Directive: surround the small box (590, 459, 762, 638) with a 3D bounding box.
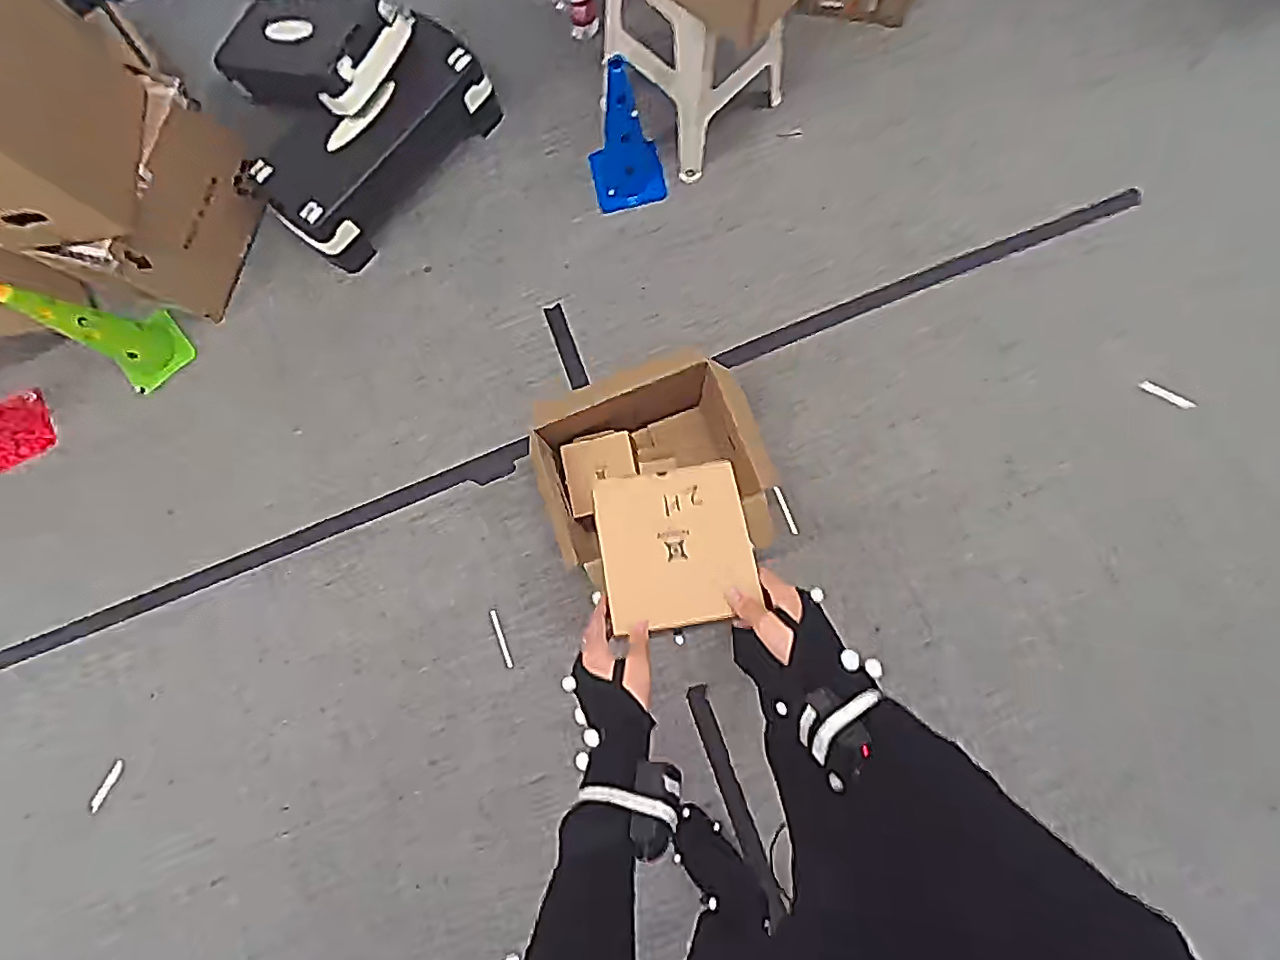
[{"bbox_3d":[0.035,0.094,0.666,0.168,0.176,0.179,-9,70,-5],"label":"small box"}]
